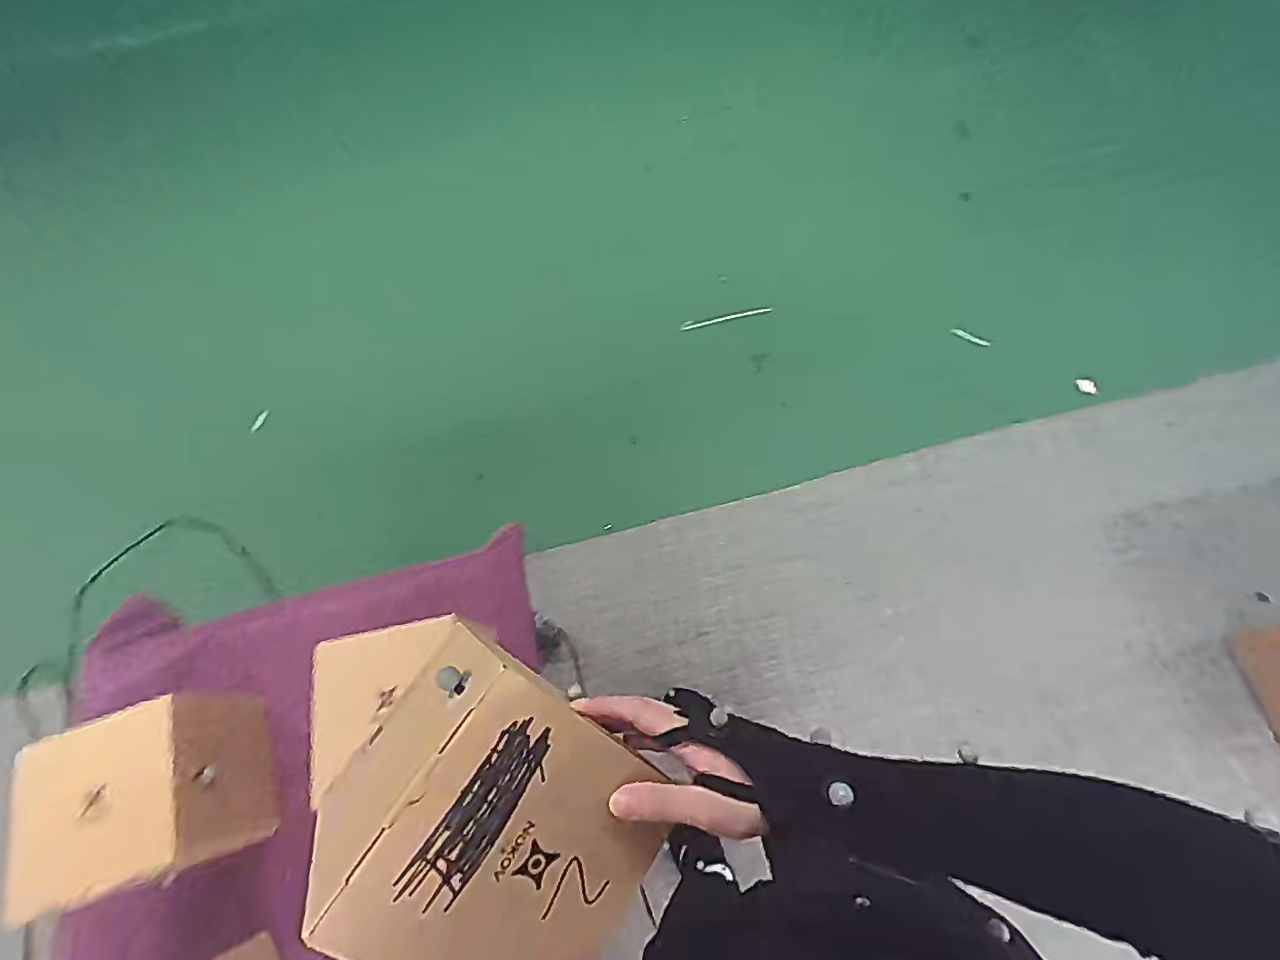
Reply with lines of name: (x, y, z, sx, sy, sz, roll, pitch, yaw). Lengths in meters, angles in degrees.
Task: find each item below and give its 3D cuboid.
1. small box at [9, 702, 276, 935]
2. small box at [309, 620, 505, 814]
small box: (-0.580, 0.386, 0.654, 0.168, 0.176, 0.179, -20, 70, -6)
small box: (-0.277, 0.288, 0.674, 0.168, 0.176, 0.179, -12, 68, 0)
